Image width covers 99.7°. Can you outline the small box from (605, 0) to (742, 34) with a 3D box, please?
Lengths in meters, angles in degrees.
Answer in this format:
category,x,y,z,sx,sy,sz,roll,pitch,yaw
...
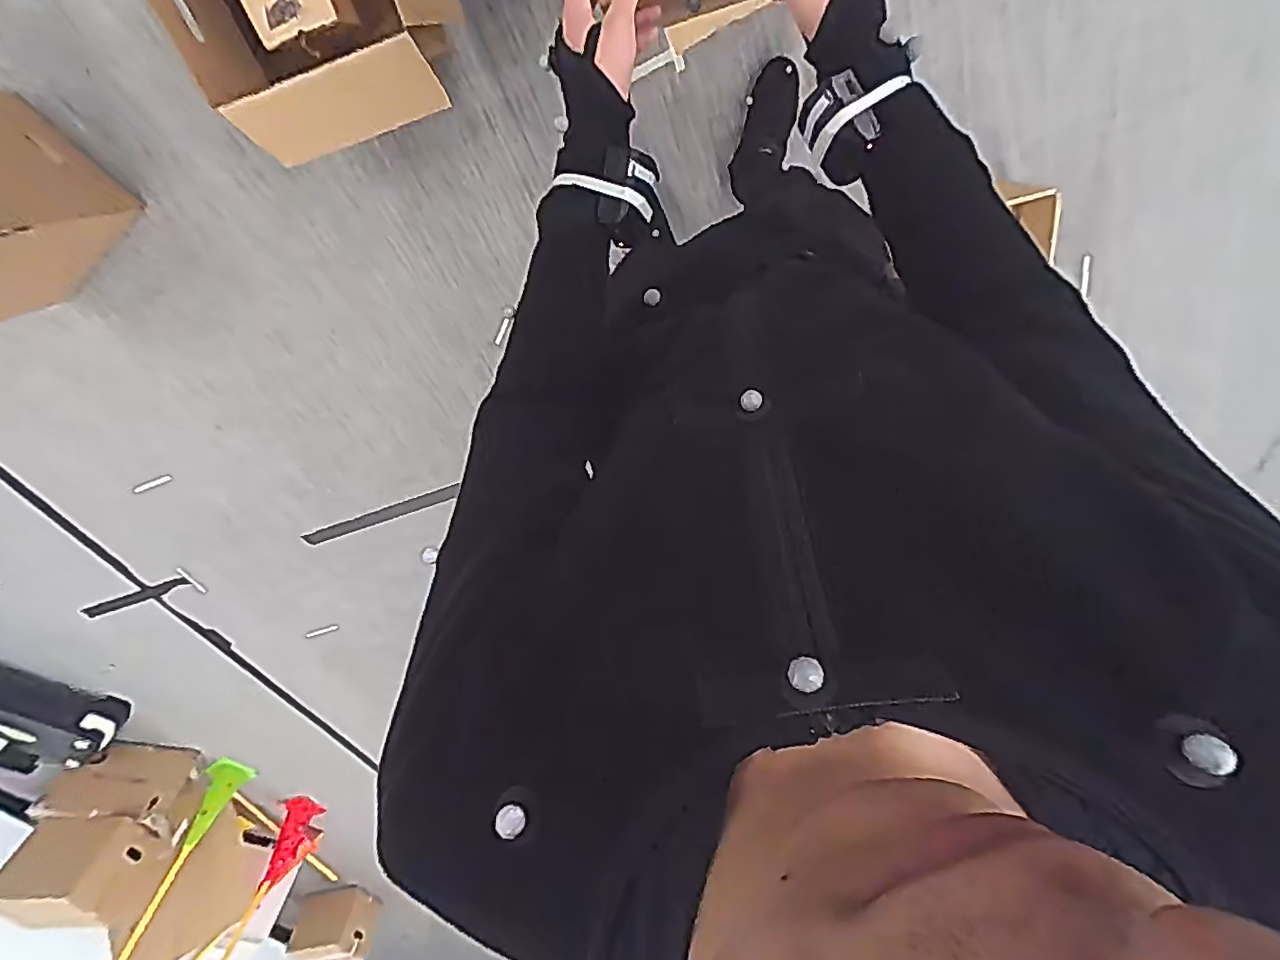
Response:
category,x,y,z,sx,sy,sz,roll,pitch,yaw
small box,0.037,-0.508,0.451,0.179,0.176,0.168,-11,120,9
